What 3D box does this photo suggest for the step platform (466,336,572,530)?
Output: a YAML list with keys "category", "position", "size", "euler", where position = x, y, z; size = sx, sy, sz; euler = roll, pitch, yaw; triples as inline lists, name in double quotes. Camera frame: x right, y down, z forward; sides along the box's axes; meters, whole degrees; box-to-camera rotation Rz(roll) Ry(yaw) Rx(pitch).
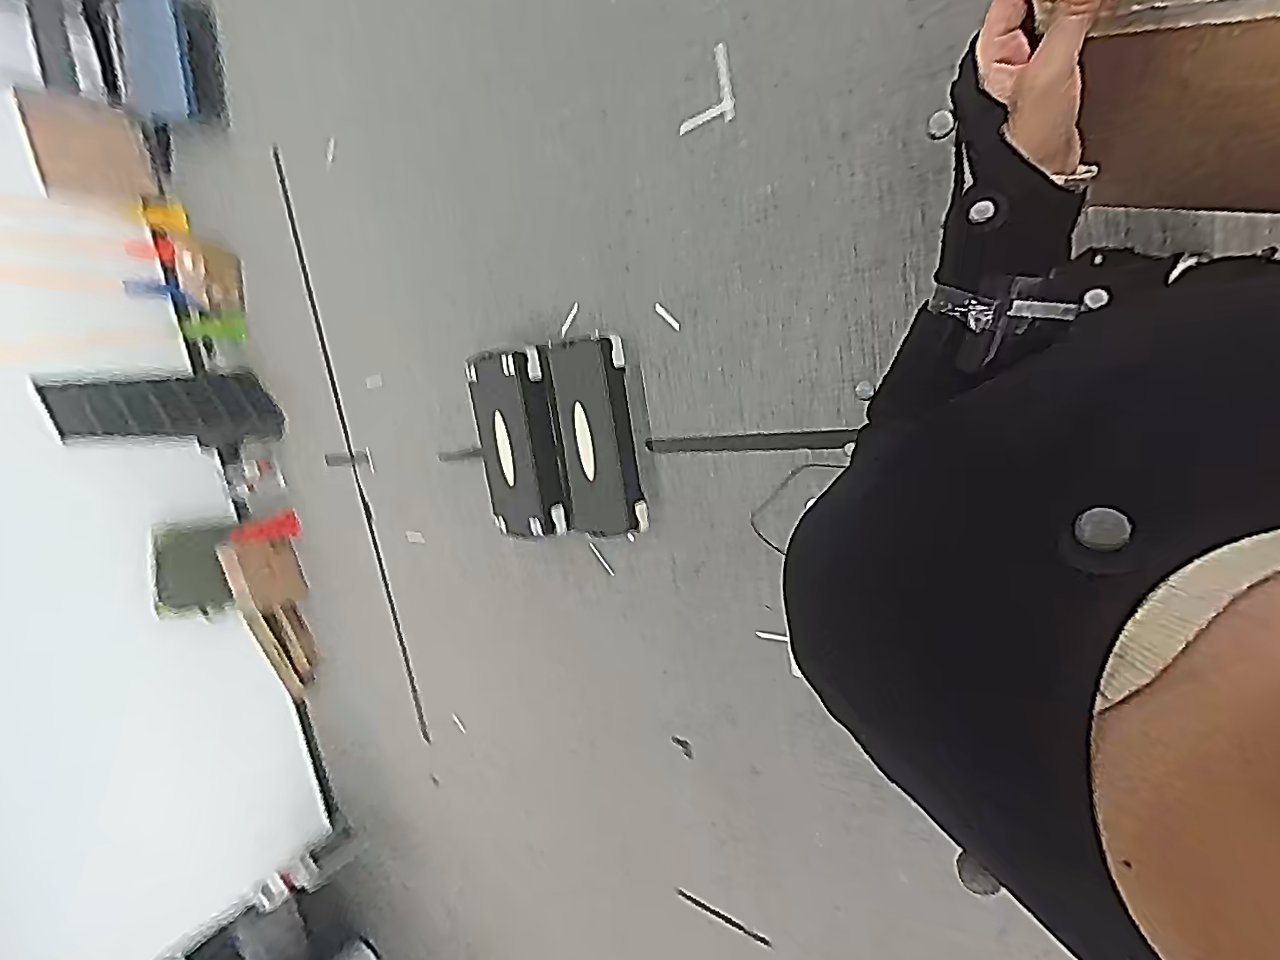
- category: "step platform"
  position: [-0.432, -0.163, 1.937]
  size: [0.286, 0.204, 0.684]
  euler: [7, 107, 36]
